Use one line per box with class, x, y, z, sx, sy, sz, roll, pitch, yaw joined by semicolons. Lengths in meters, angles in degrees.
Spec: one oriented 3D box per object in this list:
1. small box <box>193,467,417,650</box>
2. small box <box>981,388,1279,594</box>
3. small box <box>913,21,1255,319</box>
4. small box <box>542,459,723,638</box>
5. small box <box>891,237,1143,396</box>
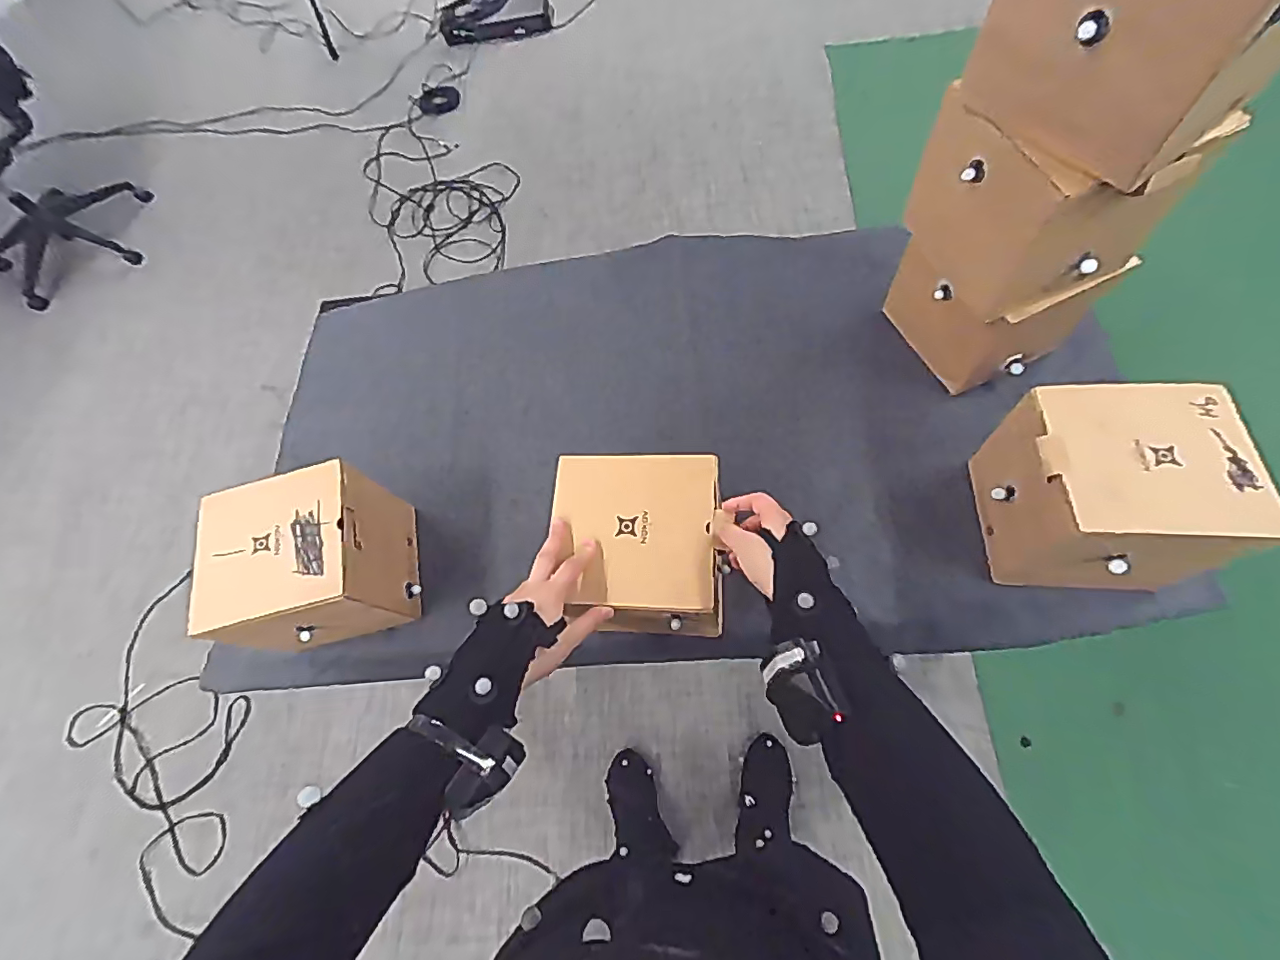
small box;-0.394;0.106;0.670;0.179;0.176;0.168;-15;67;2
small box;0.494;0.019;0.577;0.179;0.176;0.168;1;63;9
small box;0.413;-0.301;0.549;0.168;0.176;0.179;-22;66;2
small box;0.005;0.085;0.625;0.179;0.176;0.168;0;67;9
small box;0.459;-0.242;0.698;0.168;0.176;0.179;-26;68;0
